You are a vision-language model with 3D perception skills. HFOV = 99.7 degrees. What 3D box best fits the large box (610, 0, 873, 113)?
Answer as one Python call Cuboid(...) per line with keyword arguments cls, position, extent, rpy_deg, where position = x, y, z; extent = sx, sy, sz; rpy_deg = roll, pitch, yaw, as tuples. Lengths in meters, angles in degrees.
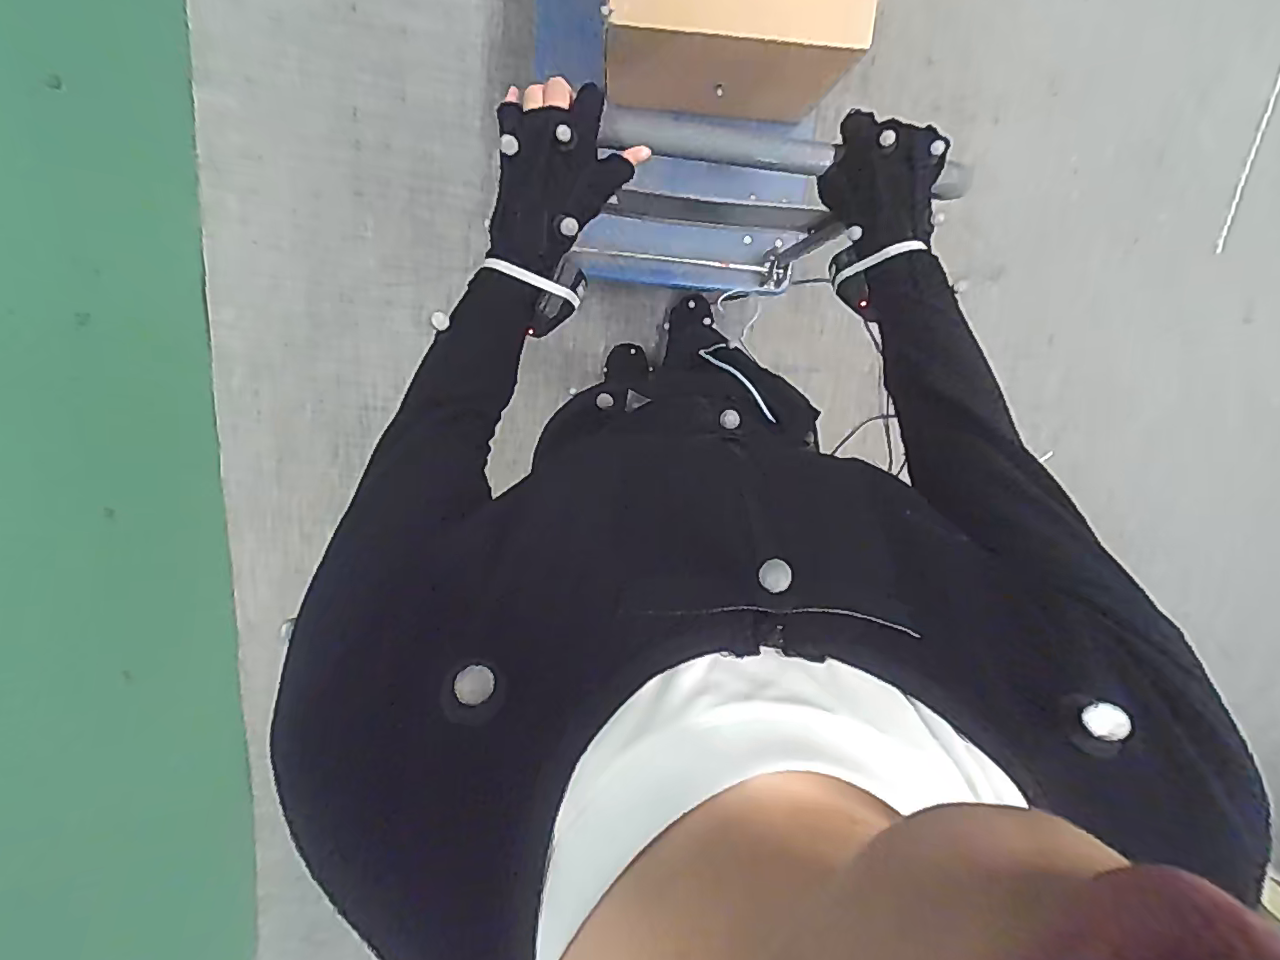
Cuboid(cls="large box", position=(0.156, -0.864, 0.926), extent=(0.408, 0.320, 0.320), rpy_deg=(2, 106, -3))
